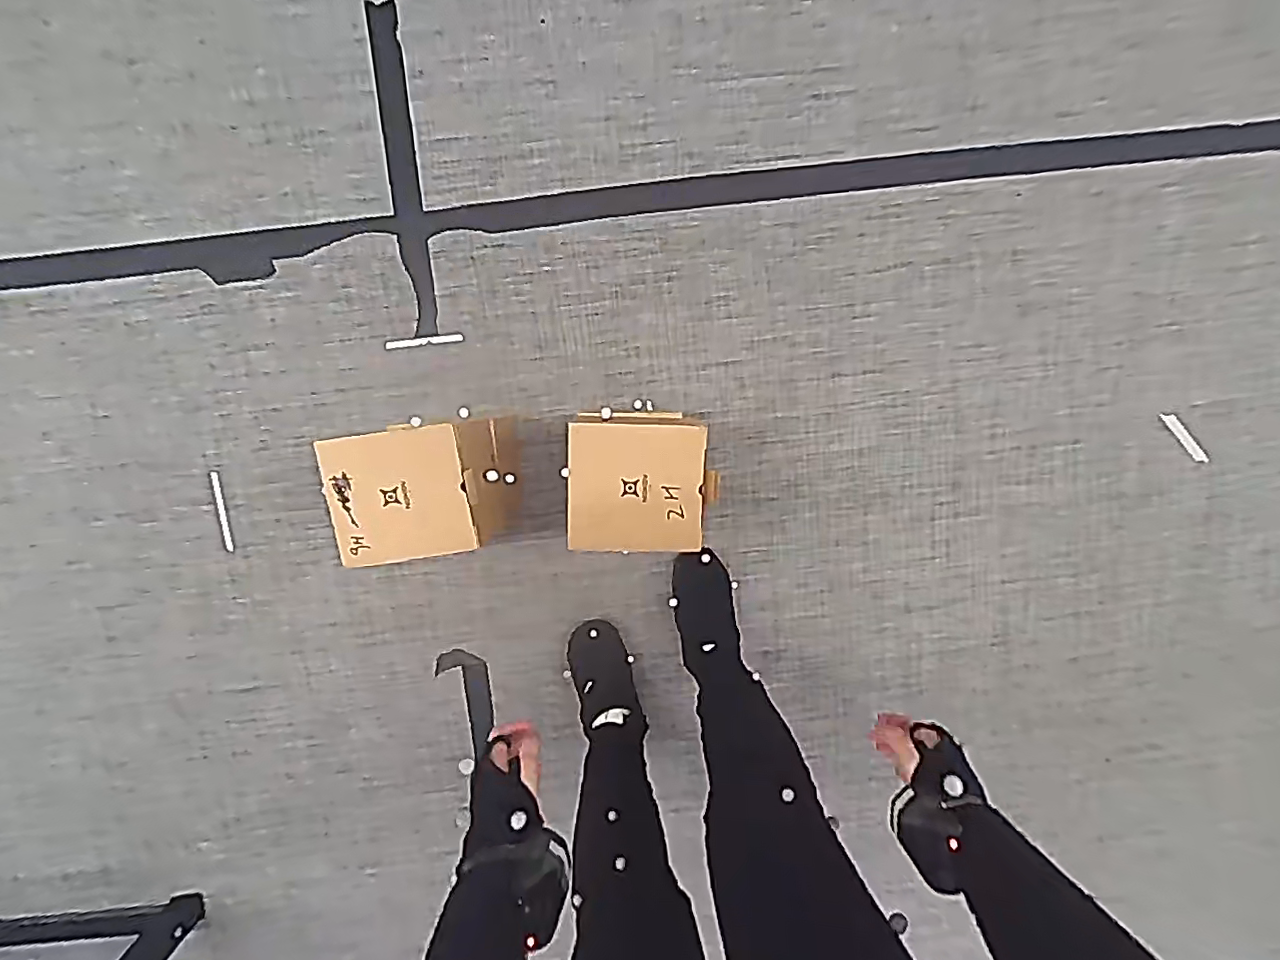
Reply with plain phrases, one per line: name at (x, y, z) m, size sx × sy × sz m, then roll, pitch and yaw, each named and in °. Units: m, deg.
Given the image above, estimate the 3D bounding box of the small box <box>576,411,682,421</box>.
small box at (-0.021, -0.026, 0.917) m, size 0.168 × 0.176 × 0.179 m, roll 0°, pitch 98°, yaw -3°

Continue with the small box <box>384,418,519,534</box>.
small box at (-0.303, -0.011, 0.906) m, size 0.168 × 0.176 × 0.179 m, roll -3°, pitch 98°, yaw -2°

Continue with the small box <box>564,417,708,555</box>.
small box at (-0.009, 0.000, 0.755) m, size 0.179 × 0.176 × 0.168 m, roll 1°, pitch 99°, yaw -4°

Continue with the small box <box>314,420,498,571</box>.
small box at (-0.301, 0.011, 0.743) m, size 0.179 × 0.176 × 0.168 m, roll -8°, pitch 99°, yaw -2°
